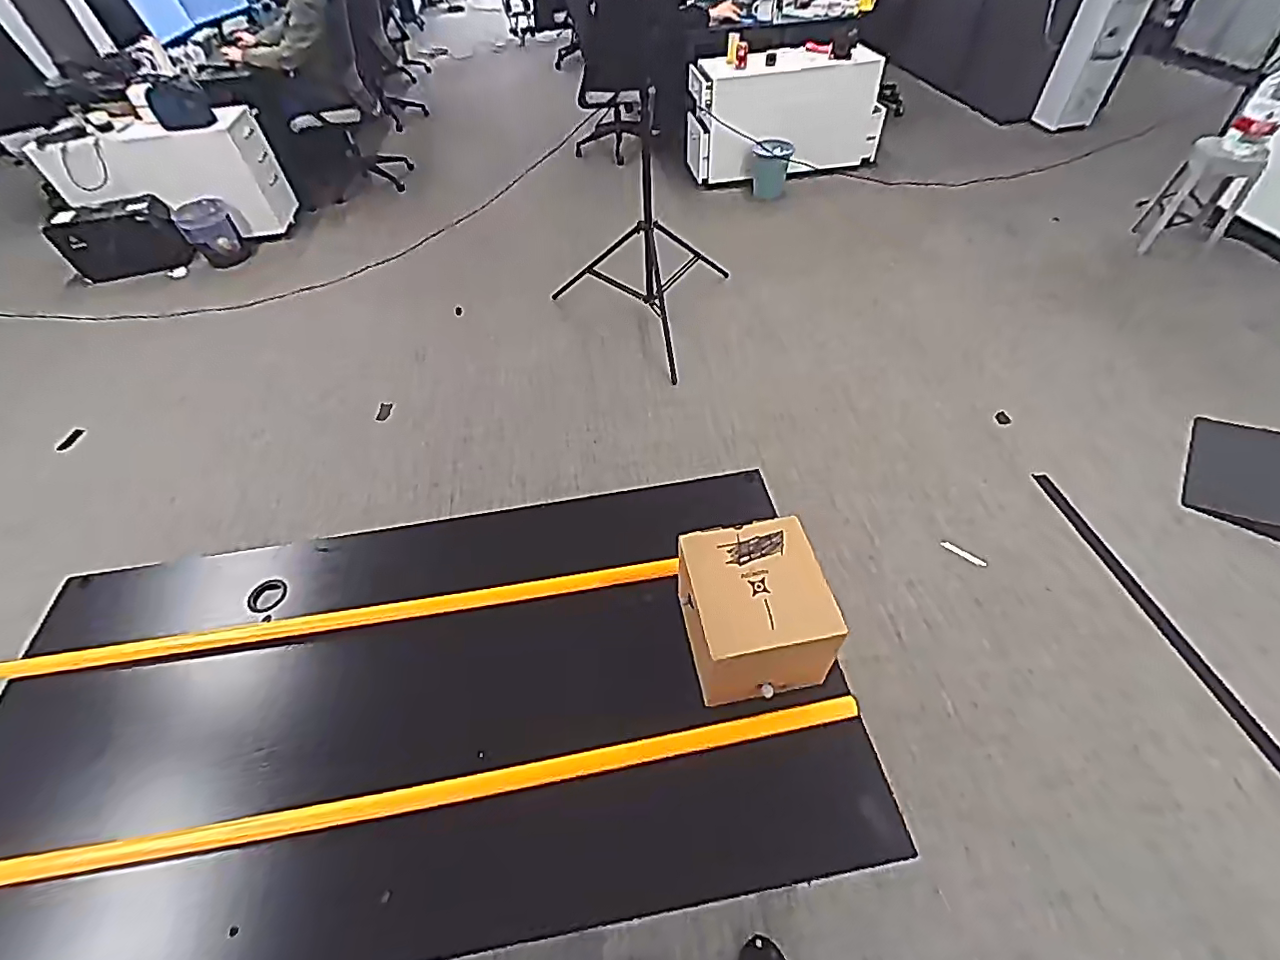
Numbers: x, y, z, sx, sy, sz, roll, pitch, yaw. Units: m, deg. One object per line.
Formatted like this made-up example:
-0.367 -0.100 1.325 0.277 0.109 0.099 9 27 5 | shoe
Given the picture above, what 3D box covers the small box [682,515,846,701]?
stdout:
0.152 0.176 0.740 0.168 0.176 0.179 -10 50 -4 | small box
